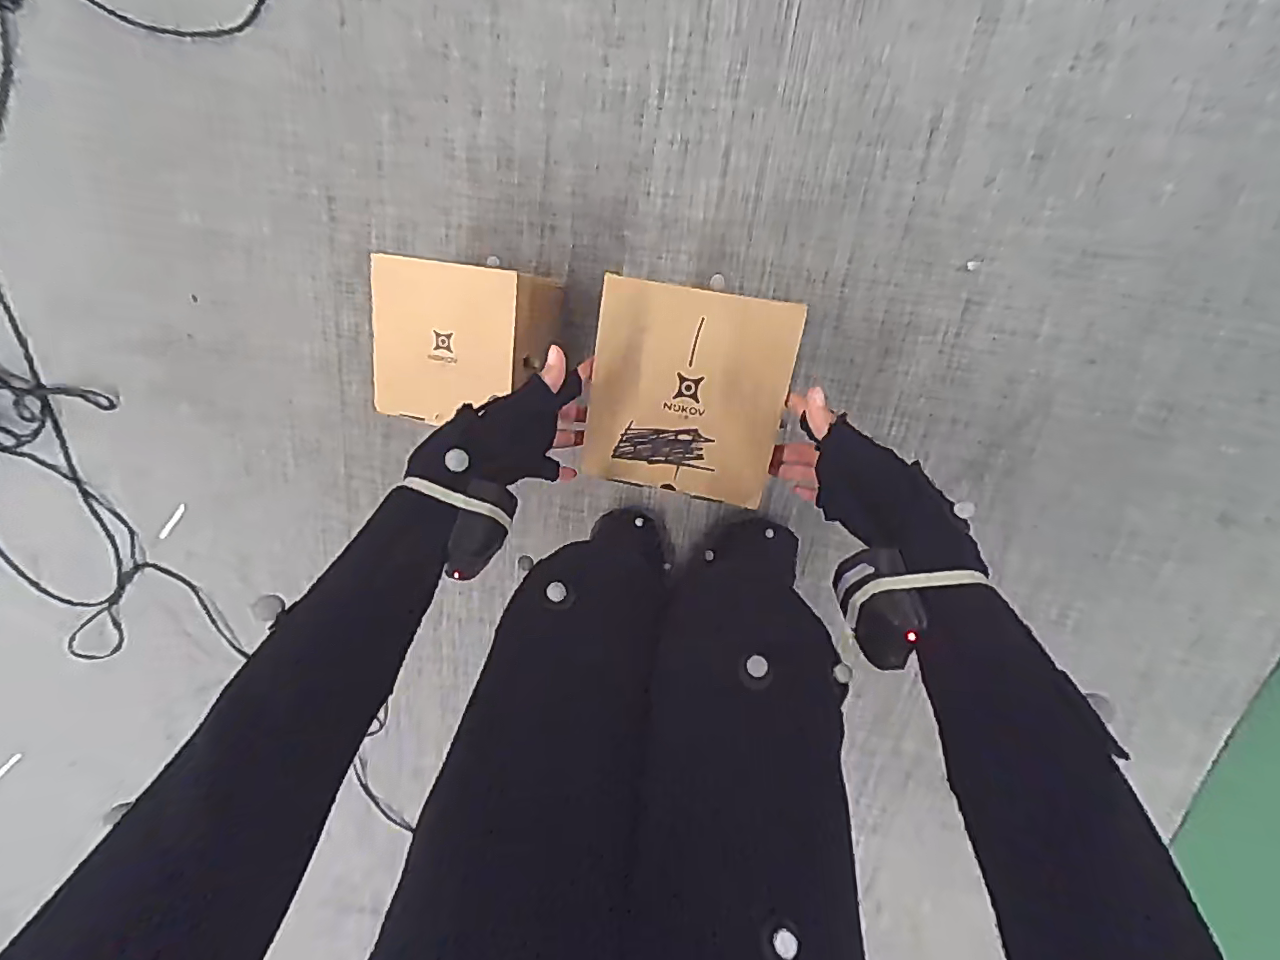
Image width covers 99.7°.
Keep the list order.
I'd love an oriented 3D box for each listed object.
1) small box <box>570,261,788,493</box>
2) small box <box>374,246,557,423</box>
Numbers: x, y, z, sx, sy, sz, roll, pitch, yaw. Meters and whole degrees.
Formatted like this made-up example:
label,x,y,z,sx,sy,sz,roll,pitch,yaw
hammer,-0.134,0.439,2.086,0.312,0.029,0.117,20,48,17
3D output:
label,x,y,z,sx,sy,sz,roll,pitch,yaw
small box,0.040,-0.108,0.538,0.168,0.176,0.179,11,109,5
small box,-0.208,-0.184,0.681,0.168,0.176,0.179,9,109,6
